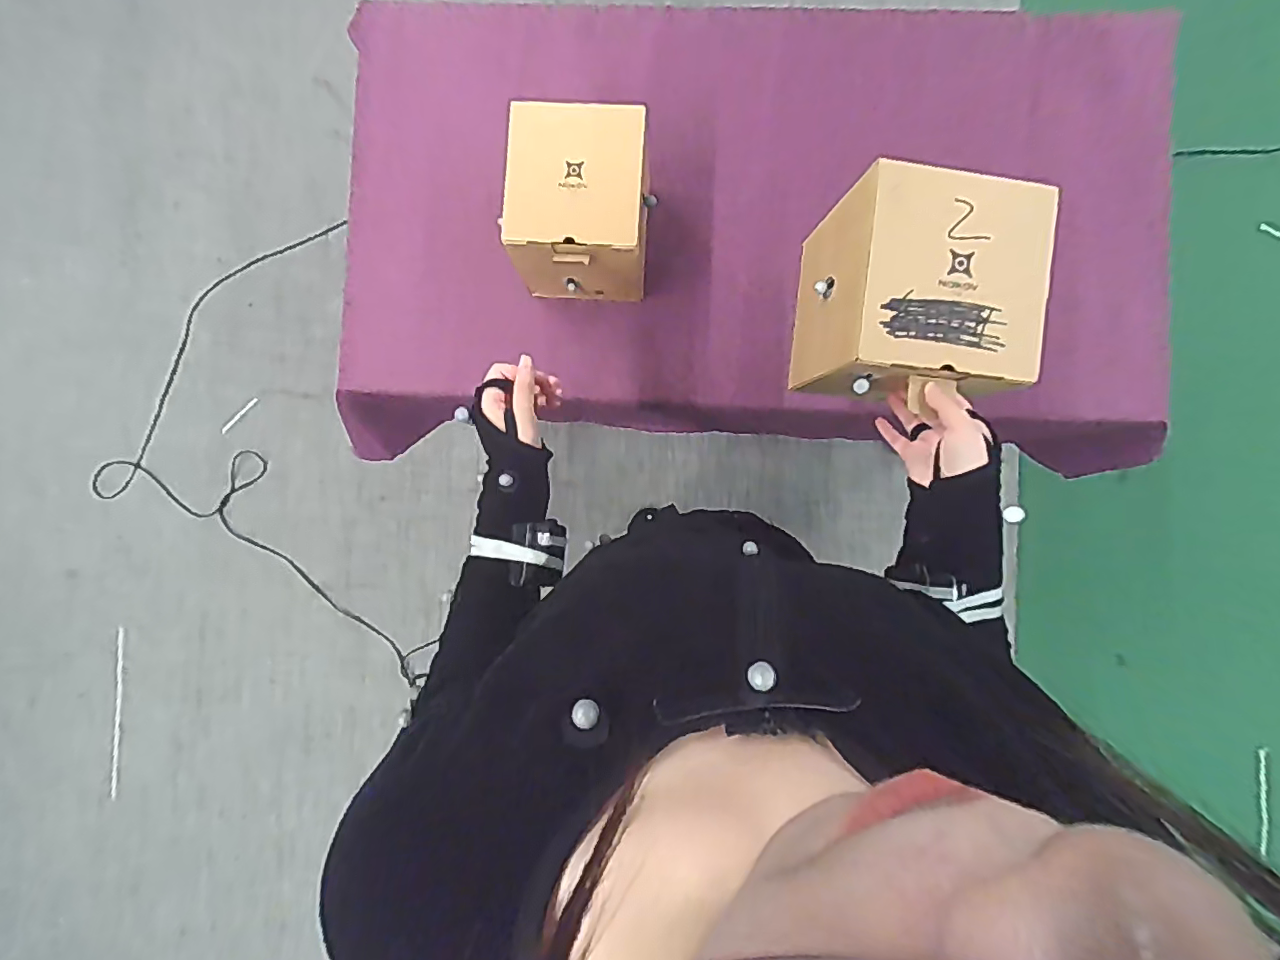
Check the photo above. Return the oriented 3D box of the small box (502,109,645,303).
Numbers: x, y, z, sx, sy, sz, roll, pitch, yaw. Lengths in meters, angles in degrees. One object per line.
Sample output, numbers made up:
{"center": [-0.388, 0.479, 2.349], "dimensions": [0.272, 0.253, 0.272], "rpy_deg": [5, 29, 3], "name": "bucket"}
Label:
{"center": [-0.081, -0.363, 0.742], "dimensions": [0.168, 0.176, 0.179], "rpy_deg": [3, 88, 2], "name": "small box"}
